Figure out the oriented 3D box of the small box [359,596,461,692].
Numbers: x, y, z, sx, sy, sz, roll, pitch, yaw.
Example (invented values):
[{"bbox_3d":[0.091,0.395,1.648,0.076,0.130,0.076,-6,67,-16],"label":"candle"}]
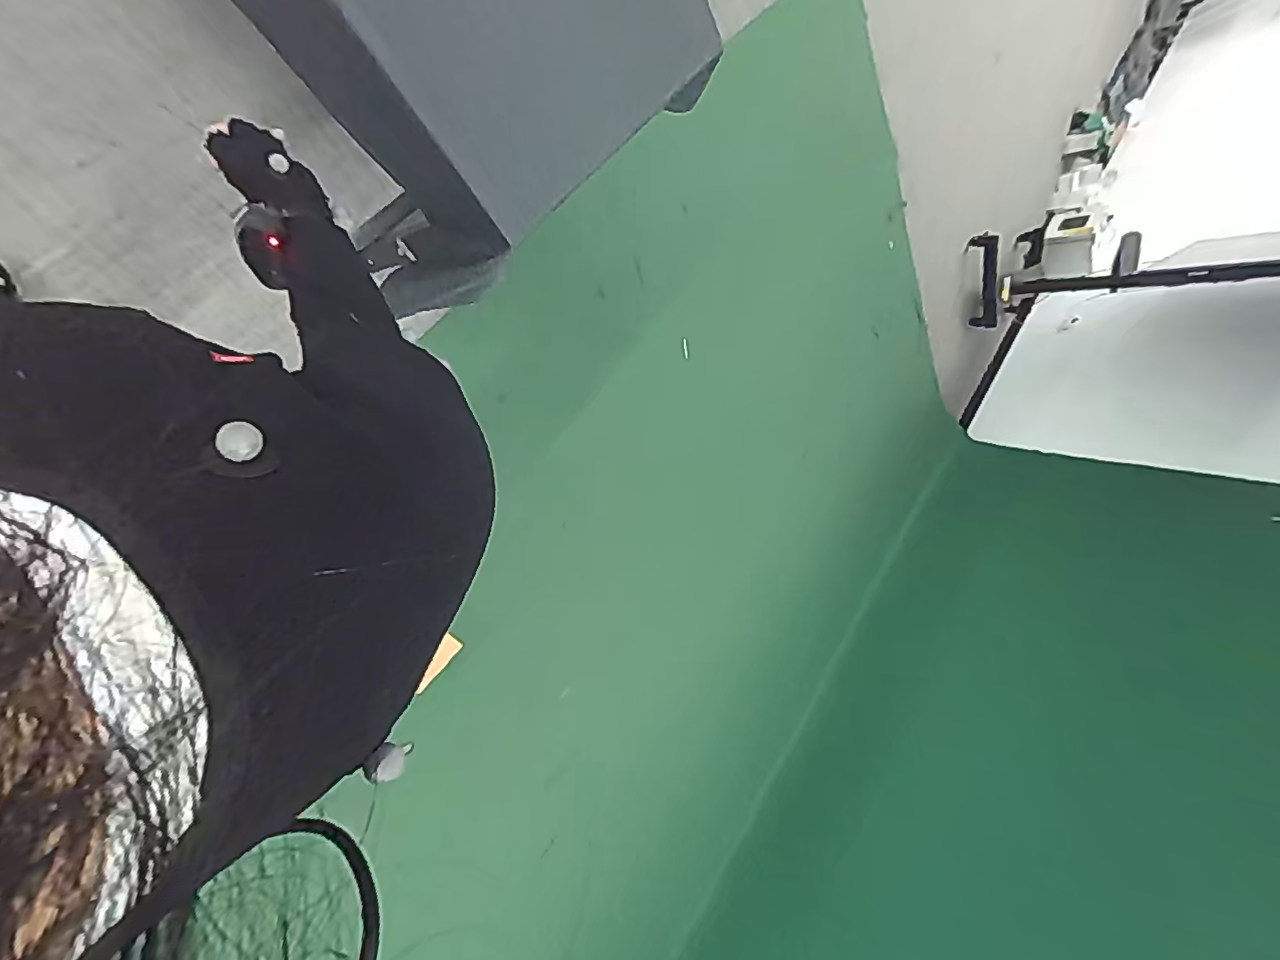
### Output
[{"bbox_3d":[-0.642,0.445,1.502,0.168,0.176,0.179,-48,129,-22],"label":"small box"}]
